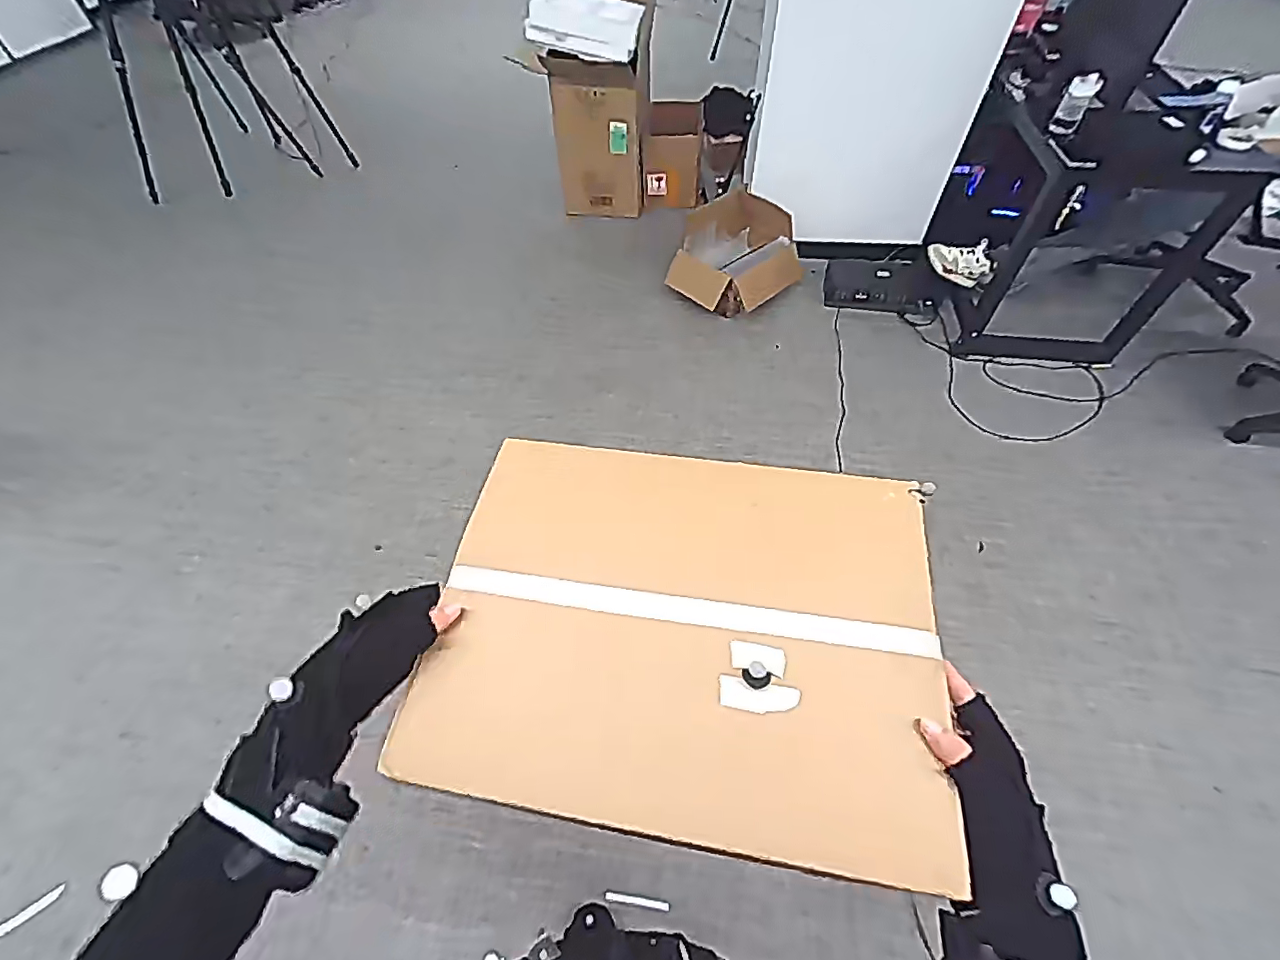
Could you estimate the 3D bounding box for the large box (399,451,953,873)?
[{"bbox_3d":[0.044,0.197,0.583,0.408,0.320,0.320,7,56,9],"label":"large box"}]
